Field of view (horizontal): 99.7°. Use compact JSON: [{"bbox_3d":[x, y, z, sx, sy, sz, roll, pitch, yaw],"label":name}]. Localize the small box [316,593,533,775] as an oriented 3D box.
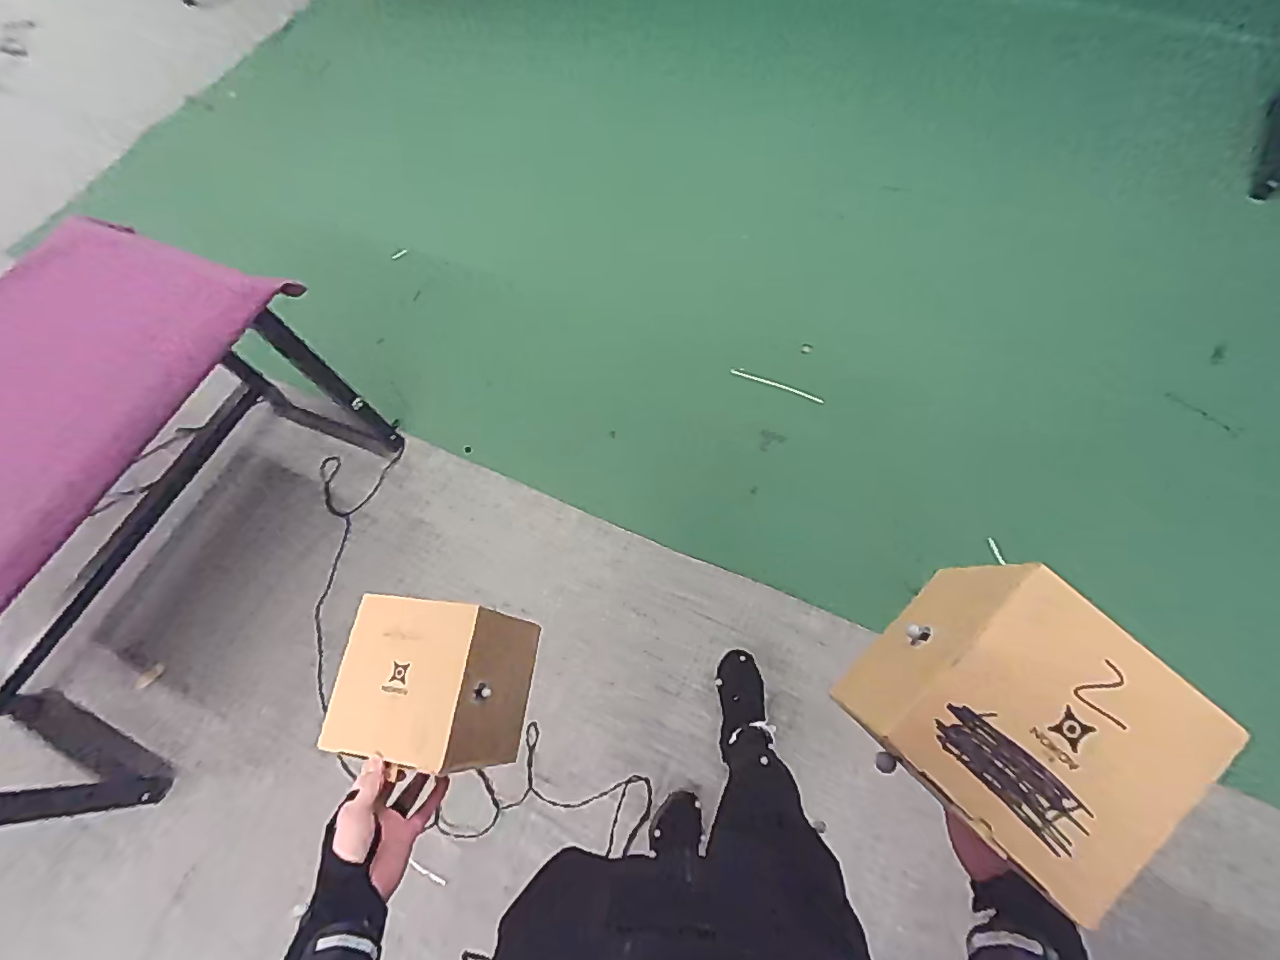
[{"bbox_3d":[-0.253,0.250,0.679,0.168,0.176,0.179,2,68,17],"label":"small box"}]
